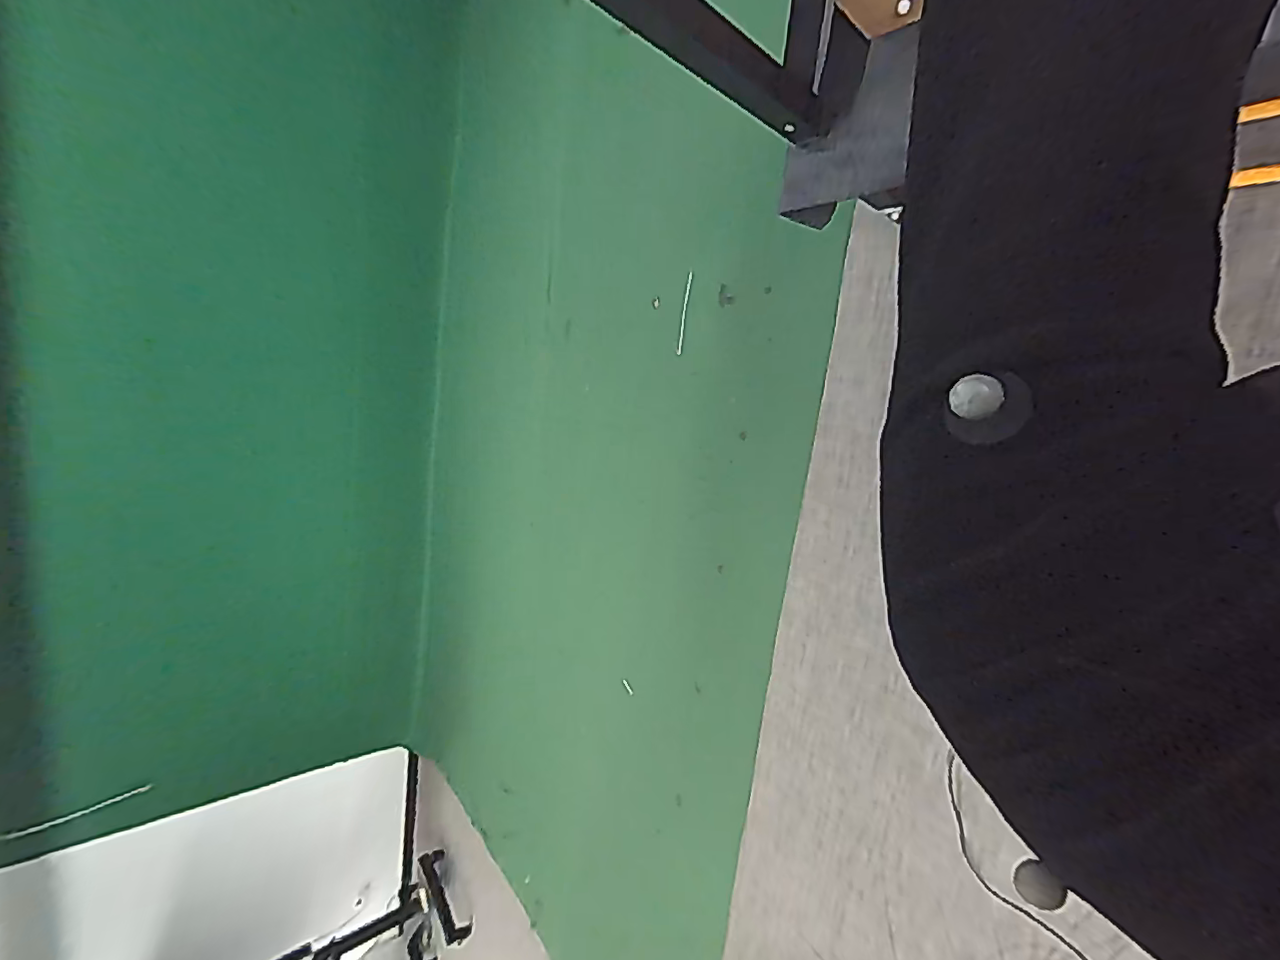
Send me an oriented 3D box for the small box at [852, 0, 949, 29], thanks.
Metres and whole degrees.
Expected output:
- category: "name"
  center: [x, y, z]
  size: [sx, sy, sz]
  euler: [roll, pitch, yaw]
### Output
- category: "small box"
  center: [0.349, -0.740, 0.687]
  size: [0.168, 0.176, 0.179]
  euler: [16, 103, 47]
